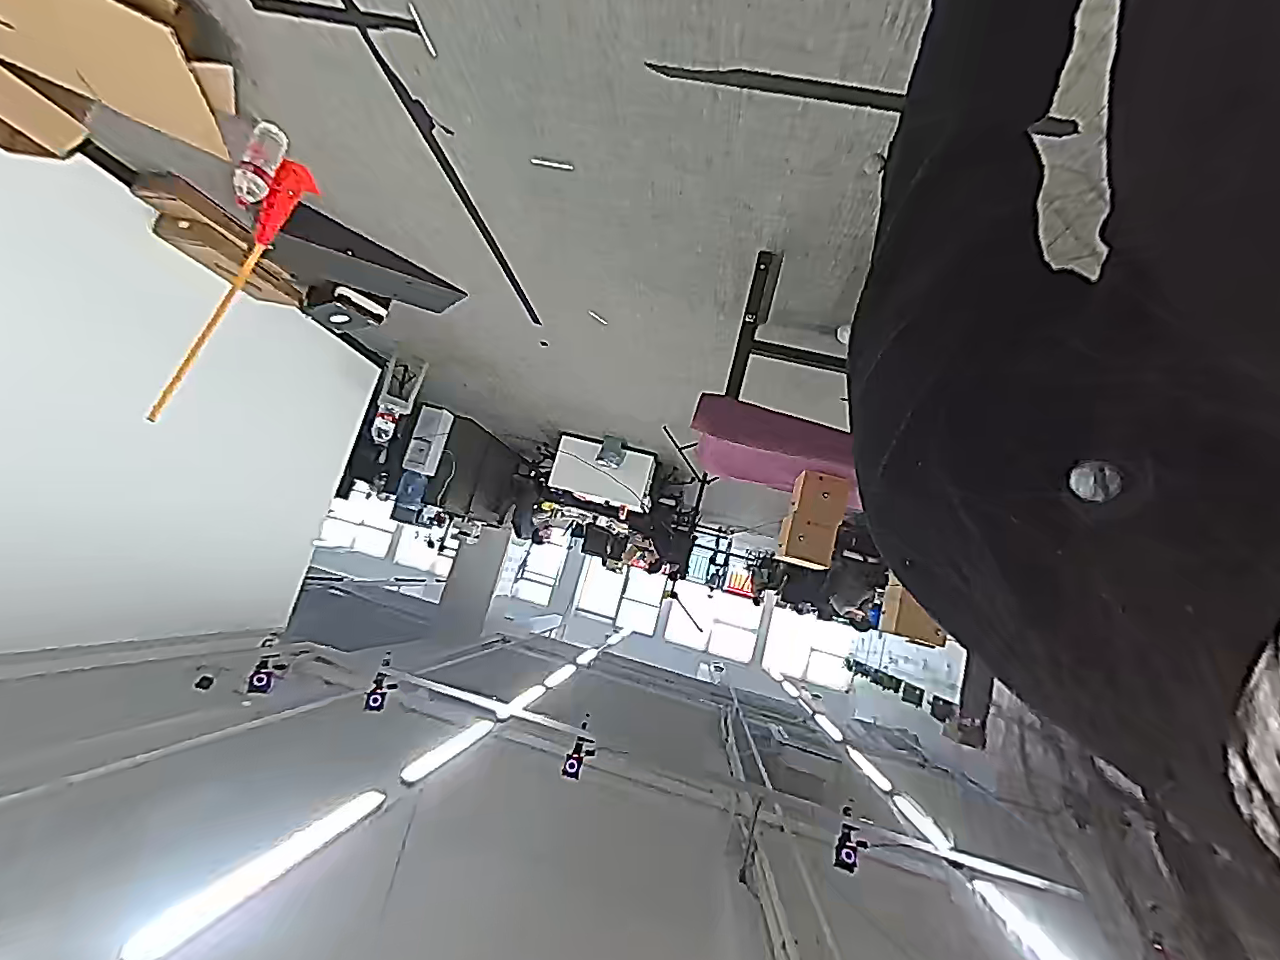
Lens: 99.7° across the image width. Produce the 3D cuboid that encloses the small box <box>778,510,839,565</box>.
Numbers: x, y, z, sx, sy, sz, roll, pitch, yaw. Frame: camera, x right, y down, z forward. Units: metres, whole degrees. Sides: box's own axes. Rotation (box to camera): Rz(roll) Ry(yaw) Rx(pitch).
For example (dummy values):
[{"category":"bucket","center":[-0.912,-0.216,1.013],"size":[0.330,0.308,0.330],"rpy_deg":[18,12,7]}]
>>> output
[{"category":"small box","center":[0.626,0.212,2.006],"size":[0.168,0.176,0.179],"rpy_deg":[15,172,6]}]

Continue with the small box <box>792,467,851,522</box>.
[{"category":"small box","center":[0.678,0.059,2.026],"size":[0.168,0.176,0.179],"rpy_deg":[14,171,8]}]
